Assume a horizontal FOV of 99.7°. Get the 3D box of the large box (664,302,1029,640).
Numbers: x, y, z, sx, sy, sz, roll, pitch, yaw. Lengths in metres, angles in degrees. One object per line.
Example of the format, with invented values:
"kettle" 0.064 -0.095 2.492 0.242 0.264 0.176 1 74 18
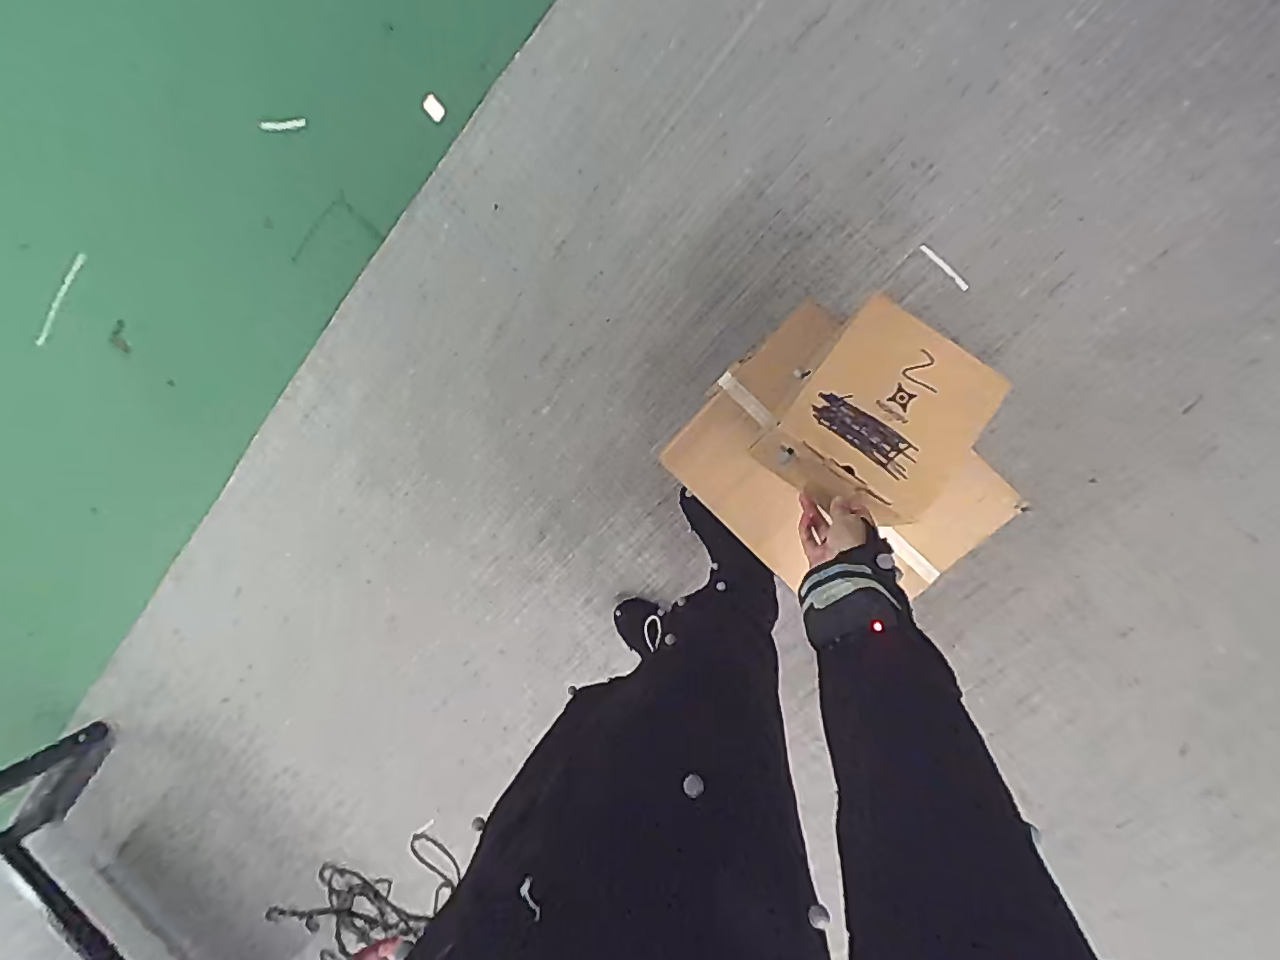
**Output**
"large box" 0.304 -0.030 0.903 0.408 0.320 0.320 44 107 2
